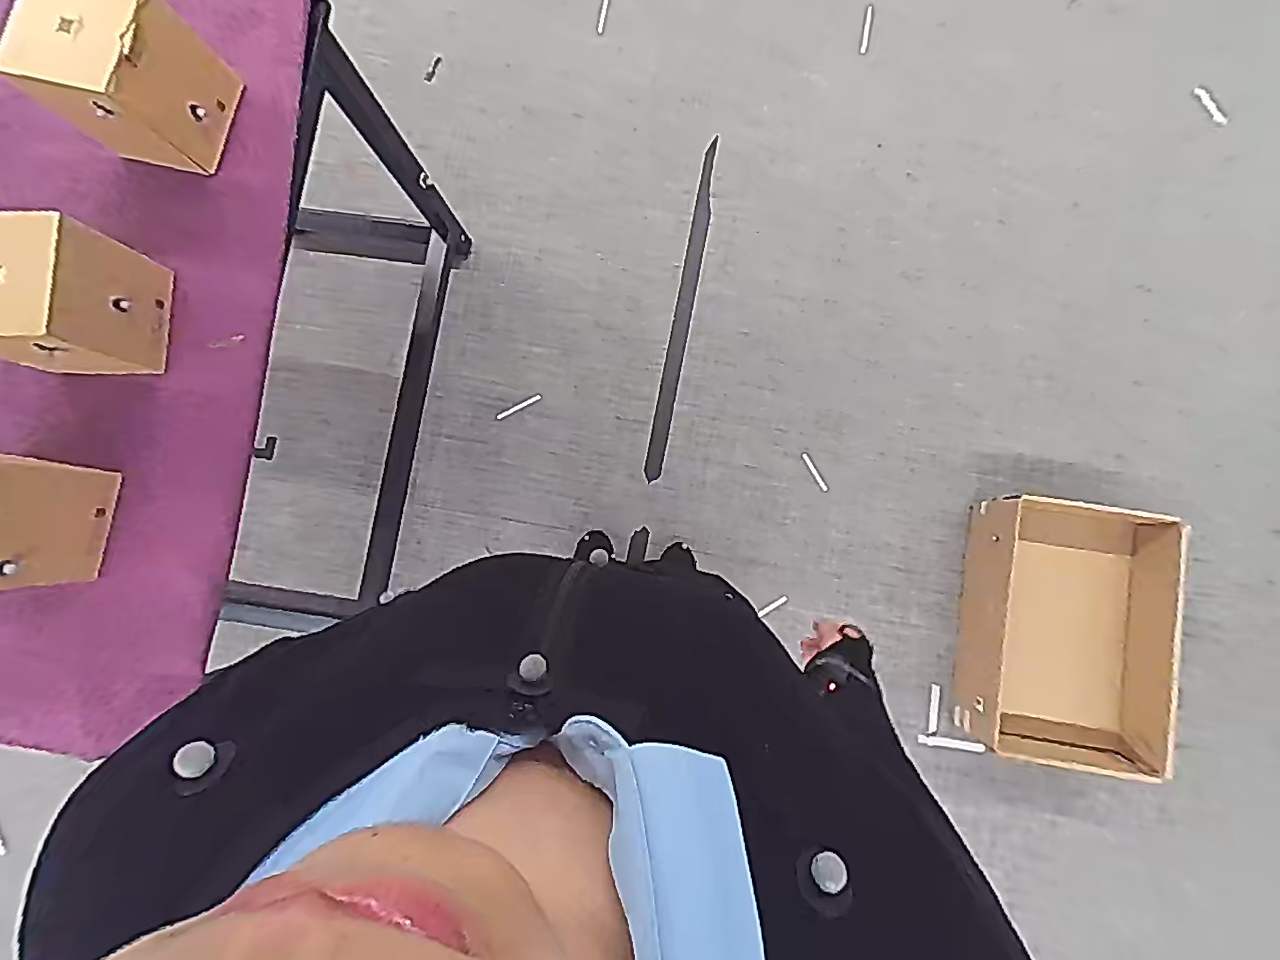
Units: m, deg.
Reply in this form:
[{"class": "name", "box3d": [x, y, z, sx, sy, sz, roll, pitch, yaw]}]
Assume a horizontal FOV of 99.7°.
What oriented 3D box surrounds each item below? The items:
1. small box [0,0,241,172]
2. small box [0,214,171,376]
[{"class": "small box", "box3d": [-0.747, -0.587, 0.792, 0.179, 0.176, 0.168, 14, 85, 5]}, {"class": "small box", "box3d": [-0.818, -0.251, 0.762, 0.179, 0.176, 0.168, 0, 84, 3]}]
